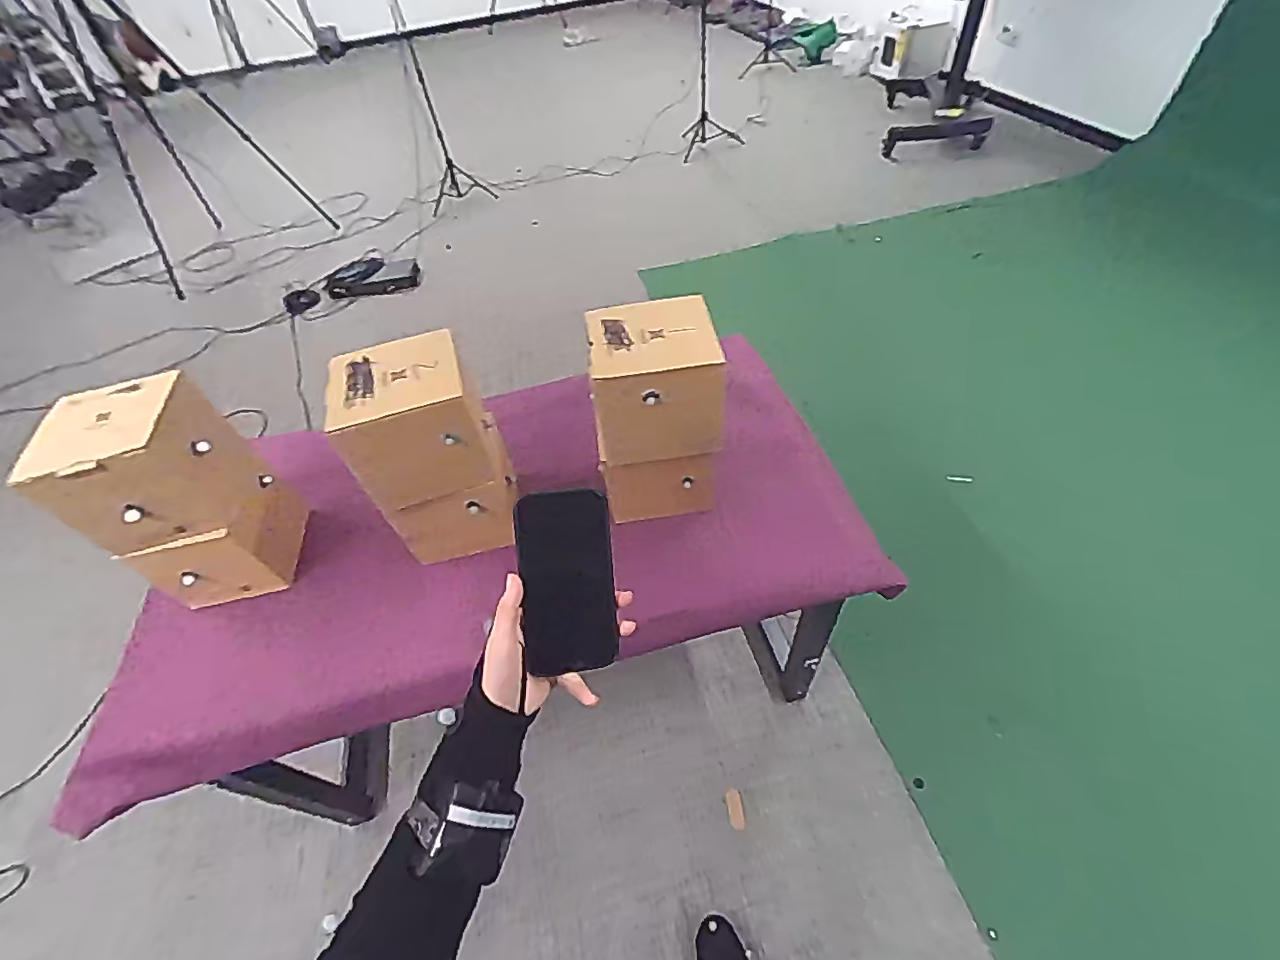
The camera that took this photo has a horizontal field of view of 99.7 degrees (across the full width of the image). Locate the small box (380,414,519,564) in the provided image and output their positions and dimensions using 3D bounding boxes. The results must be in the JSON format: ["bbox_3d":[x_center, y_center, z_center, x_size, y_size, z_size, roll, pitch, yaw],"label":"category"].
[{"bbox_3d":[-0.310,0.018,0.916,0.179,0.176,0.168,-13,49,-4],"label":"small box"}]

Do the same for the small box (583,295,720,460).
[{"bbox_3d":[0.019,-0.146,0.798,0.179,0.176,0.168,-8,49,0],"label":"small box"}]

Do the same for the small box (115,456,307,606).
[{"bbox_3d":[-0.694,0.093,0.904,0.168,0.176,0.179,-13,49,-3],"label":"small box"}]

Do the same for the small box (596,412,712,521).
[{"bbox_3d":[0.024,-0.049,0.931,0.179,0.176,0.168,-9,49,1],"label":"small box"}]

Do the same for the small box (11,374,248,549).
[{"bbox_3d":[-0.712,-0.020,0.785,0.168,0.176,0.179,-16,50,-7],"label":"small box"}]
